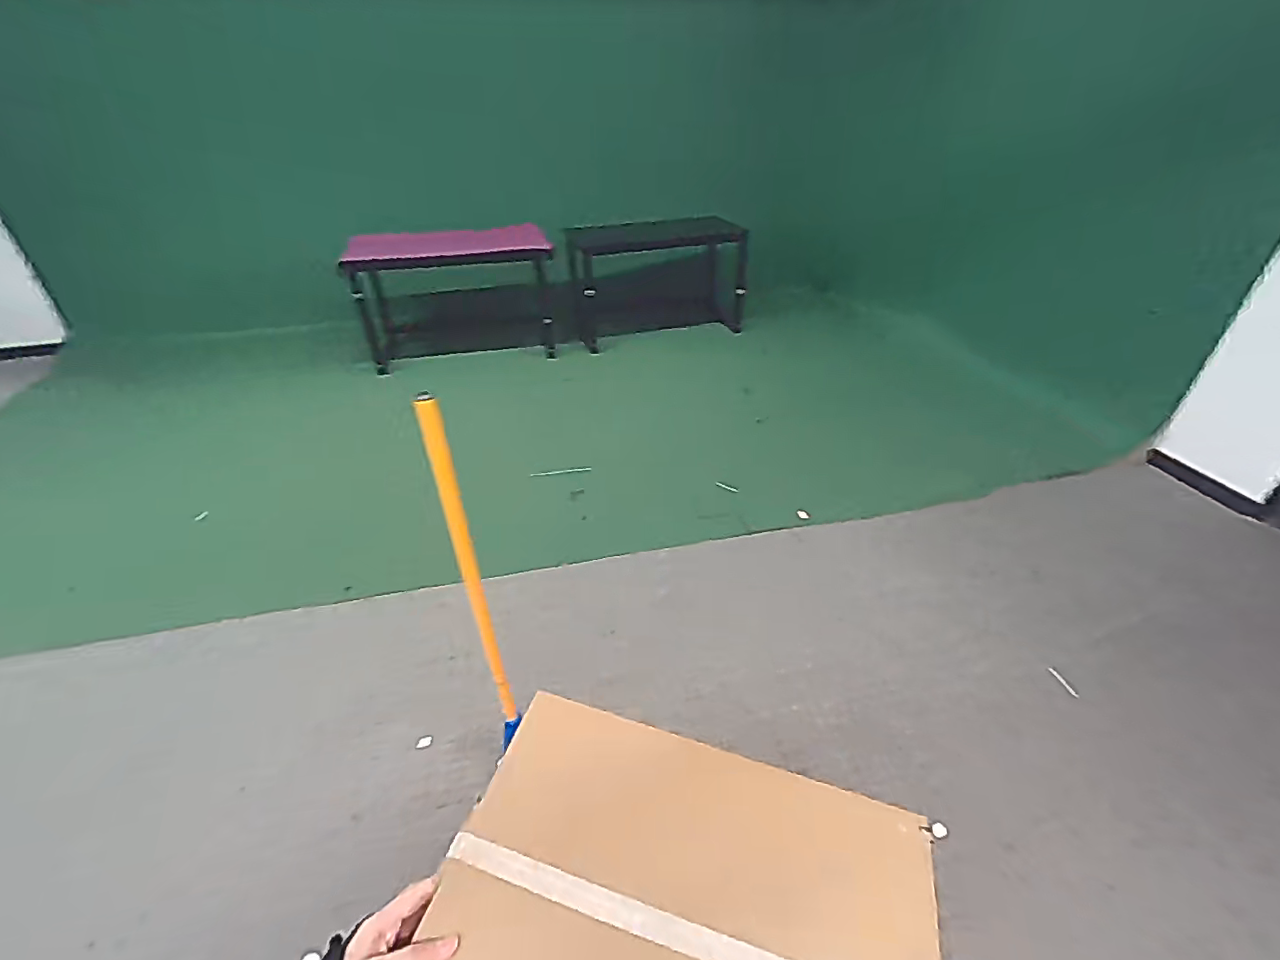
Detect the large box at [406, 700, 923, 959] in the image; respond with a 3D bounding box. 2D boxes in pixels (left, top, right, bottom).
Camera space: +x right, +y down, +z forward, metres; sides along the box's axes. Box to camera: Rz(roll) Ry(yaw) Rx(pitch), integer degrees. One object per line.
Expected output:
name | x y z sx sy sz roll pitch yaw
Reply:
large box | 0.018 0.486 0.536 0.408 0.320 0.320 13 40 11
